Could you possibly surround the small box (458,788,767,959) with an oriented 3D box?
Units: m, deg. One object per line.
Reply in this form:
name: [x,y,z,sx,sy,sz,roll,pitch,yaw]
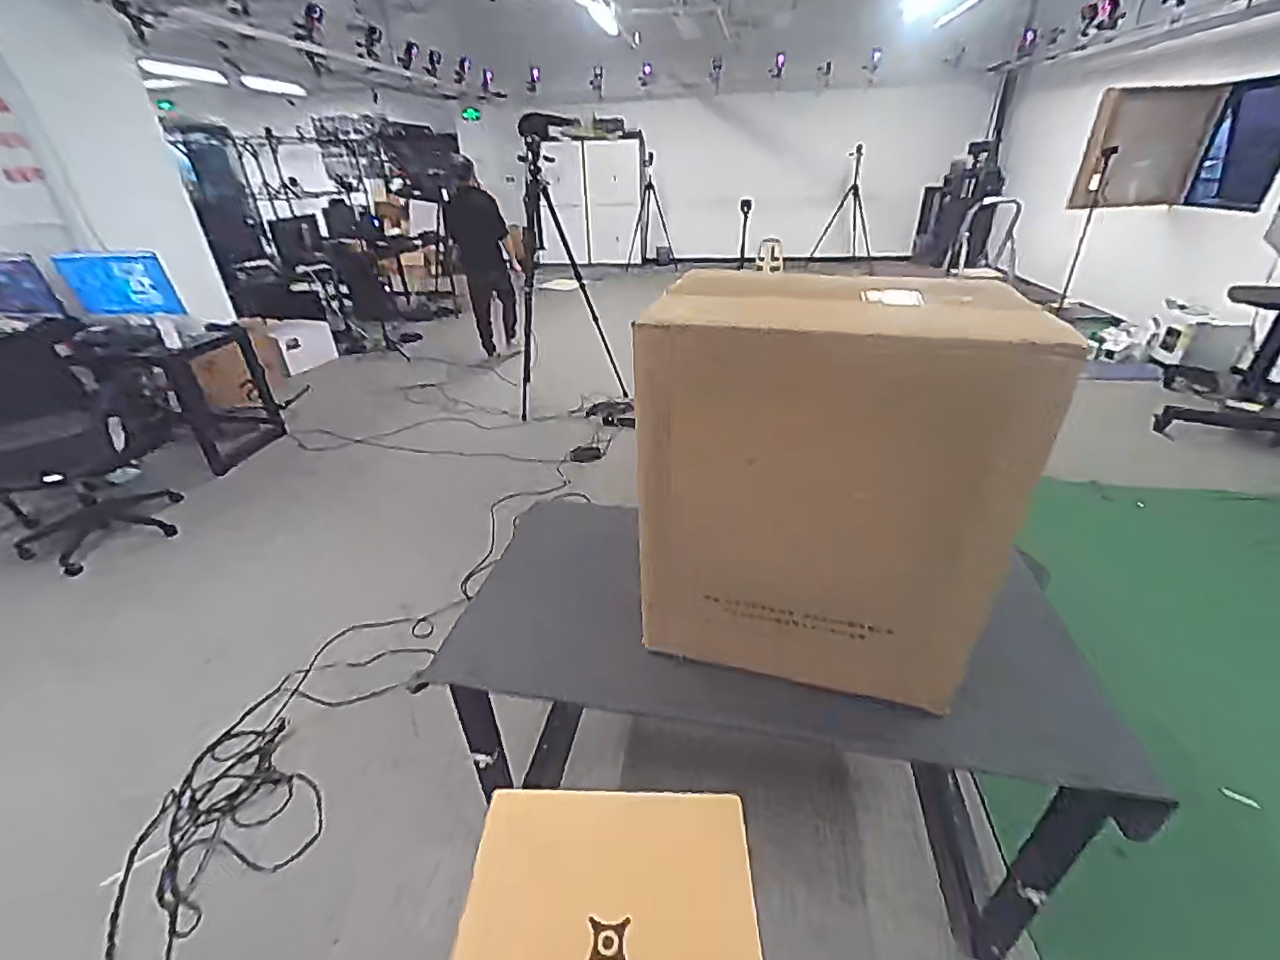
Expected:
small box: [-0.016,0.321,0.325,0.168,0.176,0.179,1,30,0]
